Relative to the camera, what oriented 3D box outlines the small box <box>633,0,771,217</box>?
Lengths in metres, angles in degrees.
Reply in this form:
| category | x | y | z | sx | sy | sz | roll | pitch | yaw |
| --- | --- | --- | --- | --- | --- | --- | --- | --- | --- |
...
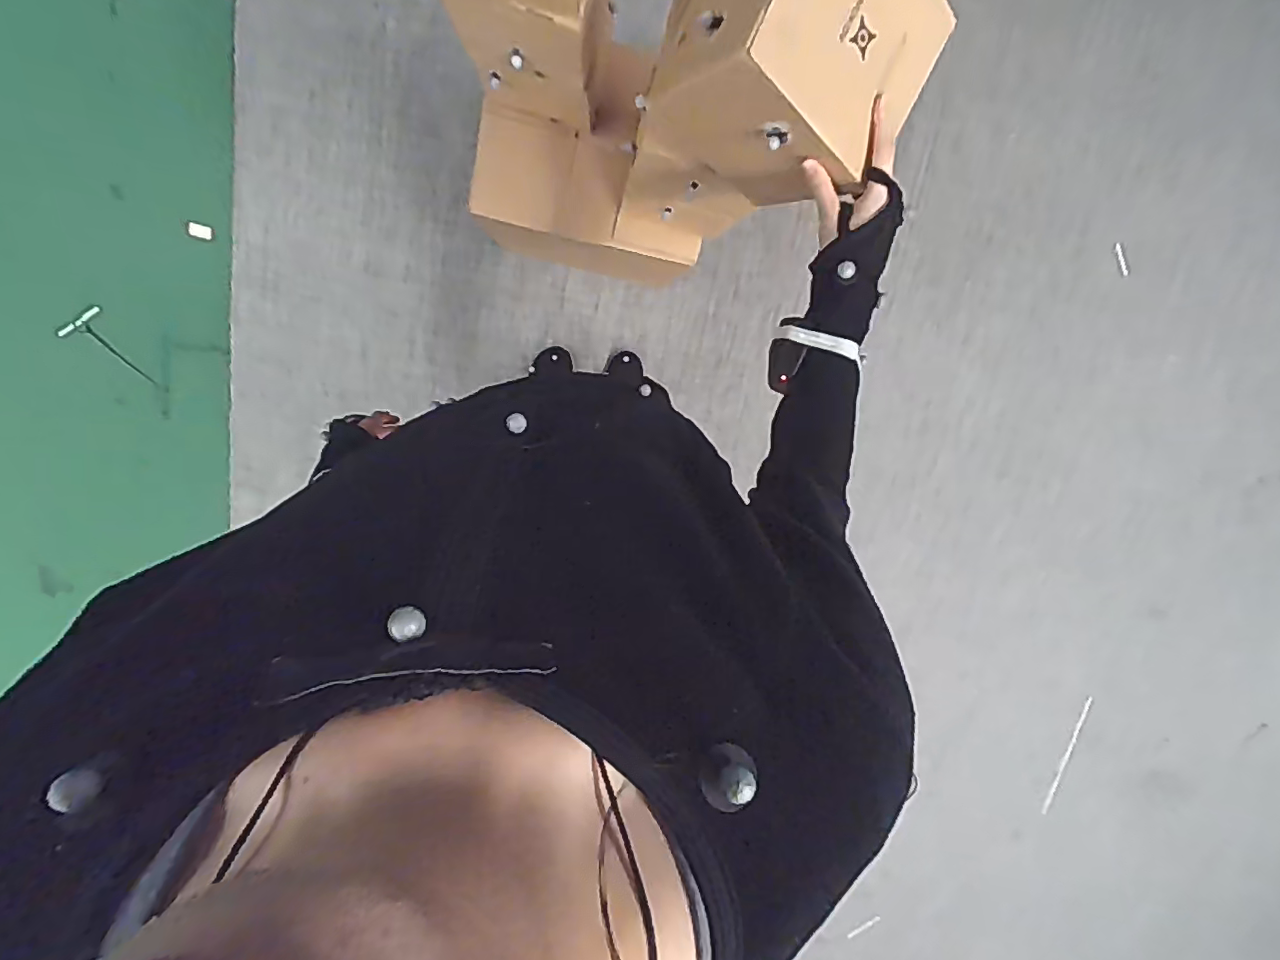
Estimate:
| category | x | y | z | sx | sy | sz | roll | pitch | yaw |
| --- | --- | --- | --- | --- | --- | --- | --- | --- | --- |
| small box | 0.097 | -0.457 | 0.695 | 0.179 | 0.176 | 0.168 | 13 | 103 | -8 |

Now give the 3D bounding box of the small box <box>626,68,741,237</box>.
| category | x | y | z | sx | sy | sz | roll | pitch | yaw |
| --- | --- | --- | --- | --- | --- | --- | --- | --- | --- |
| small box | 0.079 | -0.497 | 0.853 | 0.179 | 0.176 | 0.168 | 13 | 105 | -7 |

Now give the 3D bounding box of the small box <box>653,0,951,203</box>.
| category | x | y | z | sx | sy | sz | roll | pitch | yaw |
| --- | --- | --- | --- | --- | --- | --- | --- | --- | --- |
| small box | 0.143 | -0.389 | 0.514 | 0.179 | 0.176 | 0.168 | 24 | 96 | -35 |
